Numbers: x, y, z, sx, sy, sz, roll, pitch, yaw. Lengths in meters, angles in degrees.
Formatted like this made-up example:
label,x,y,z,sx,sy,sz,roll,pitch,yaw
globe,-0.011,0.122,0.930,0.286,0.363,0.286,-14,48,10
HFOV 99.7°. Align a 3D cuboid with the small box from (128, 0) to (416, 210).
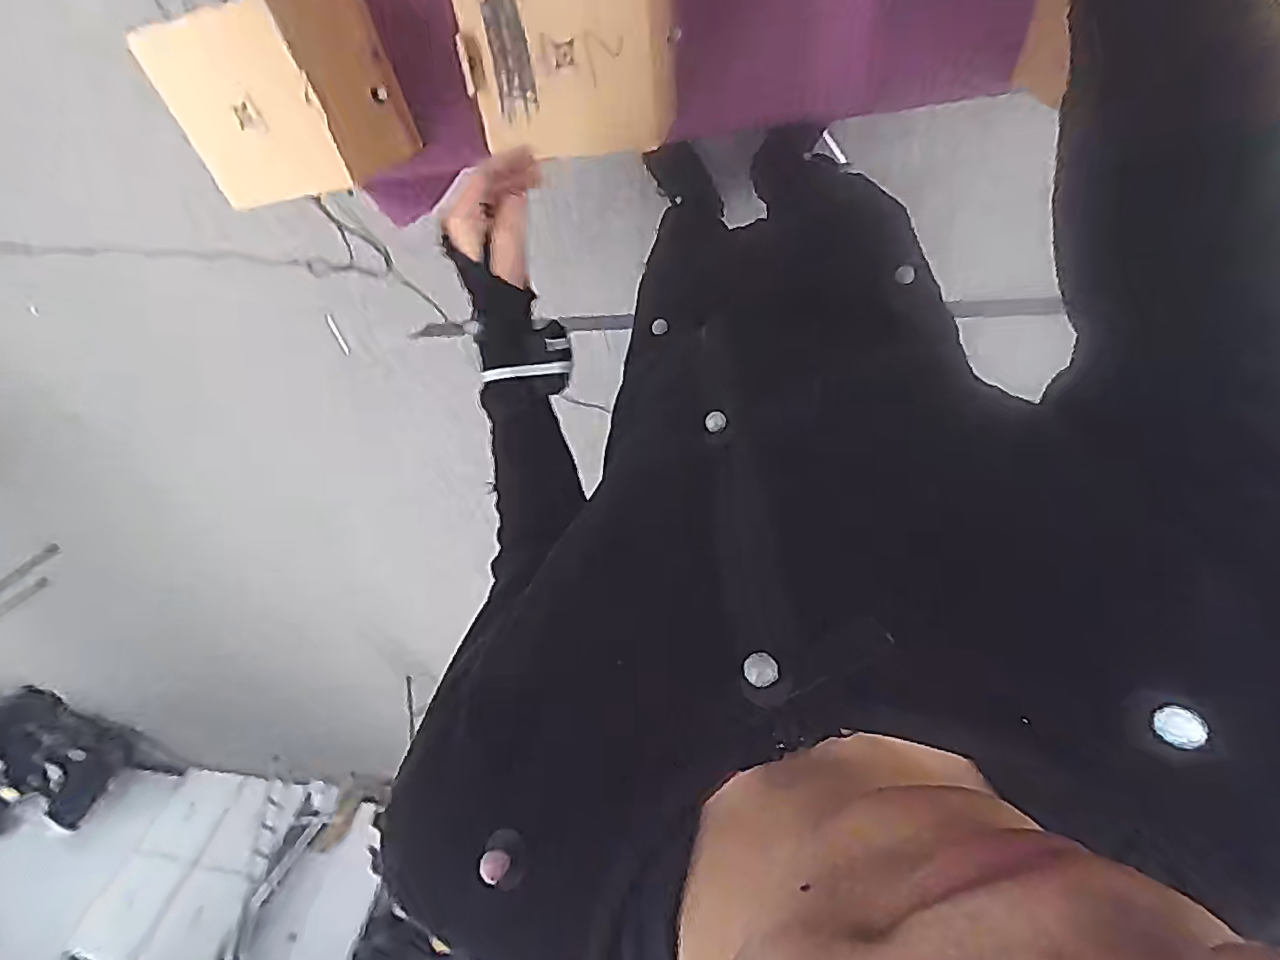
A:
label,x,y,z,sx,sy,sz,roll,pitch,yaw
small box,-0.399,-0.434,0.624,0.179,0.176,0.168,-3,132,14
